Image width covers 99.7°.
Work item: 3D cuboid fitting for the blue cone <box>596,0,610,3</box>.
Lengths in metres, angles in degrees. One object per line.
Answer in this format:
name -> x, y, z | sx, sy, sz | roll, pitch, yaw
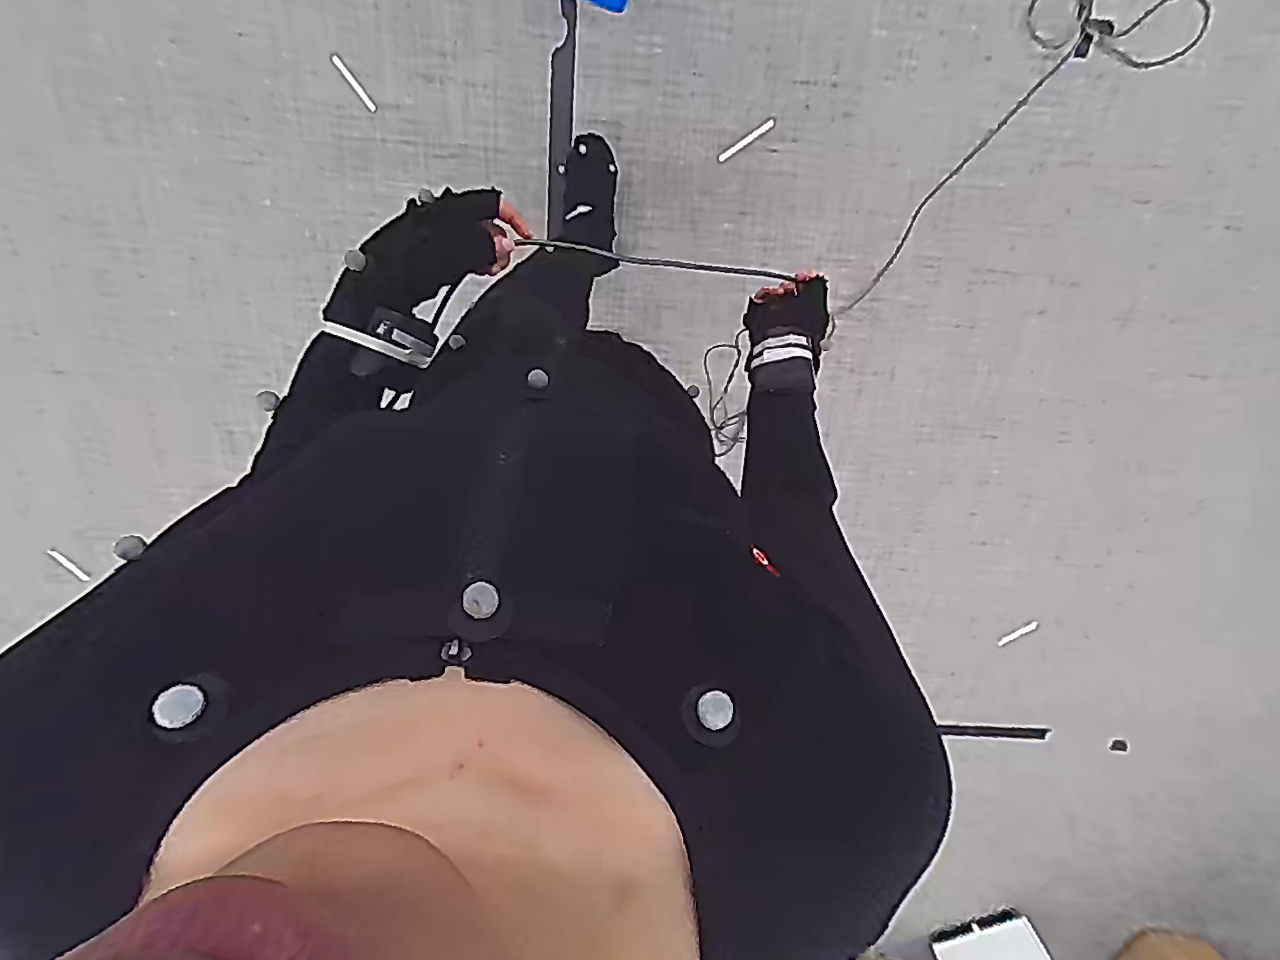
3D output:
blue cone -> -0.111, -1.024, 0.920 | 0.192, 0.380, 0.193 | 19, 110, -8
